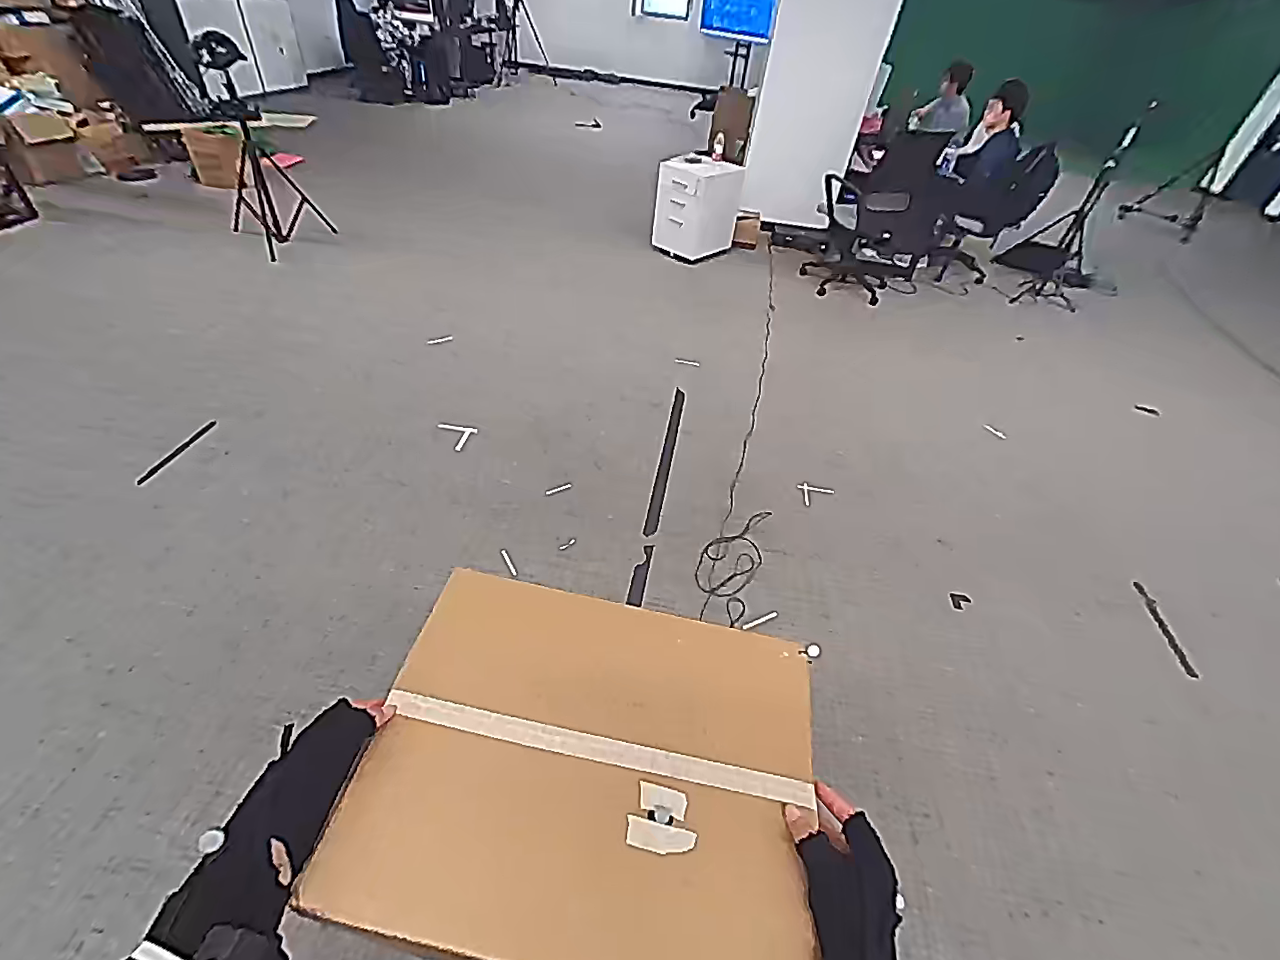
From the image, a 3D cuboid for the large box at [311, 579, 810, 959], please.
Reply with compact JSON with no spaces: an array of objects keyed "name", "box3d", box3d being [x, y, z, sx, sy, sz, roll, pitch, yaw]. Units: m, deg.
[{"name":"large box","box3d":[-0.060,0.360,0.622,0.408,0.320,0.320,12,46,2]}]
